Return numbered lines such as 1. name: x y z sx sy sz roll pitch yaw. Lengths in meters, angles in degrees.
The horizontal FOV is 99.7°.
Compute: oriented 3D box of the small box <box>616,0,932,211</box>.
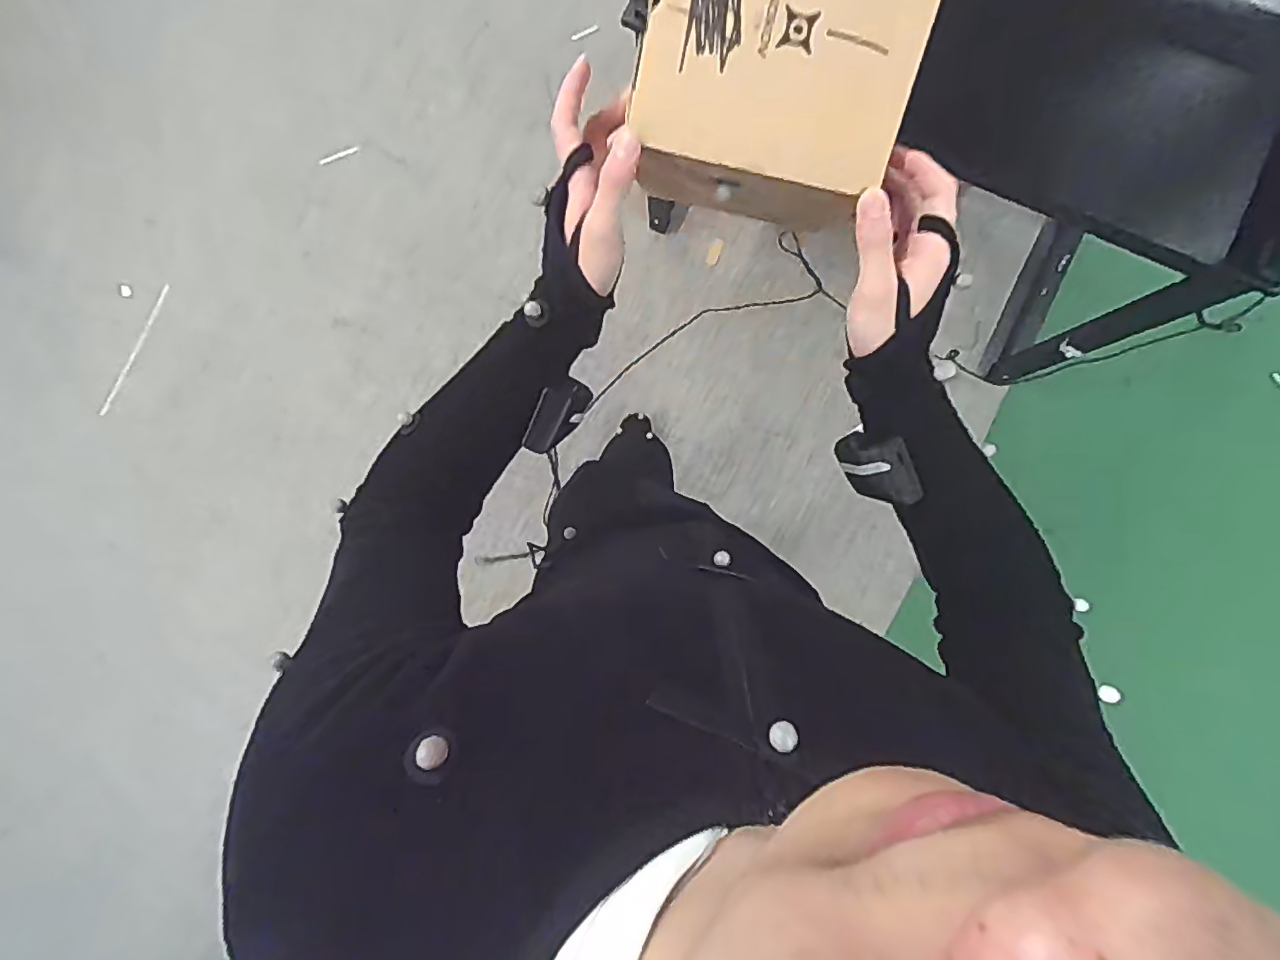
1. small box: 0.092 -0.313 0.400 0.179 0.176 0.168 13 109 0
